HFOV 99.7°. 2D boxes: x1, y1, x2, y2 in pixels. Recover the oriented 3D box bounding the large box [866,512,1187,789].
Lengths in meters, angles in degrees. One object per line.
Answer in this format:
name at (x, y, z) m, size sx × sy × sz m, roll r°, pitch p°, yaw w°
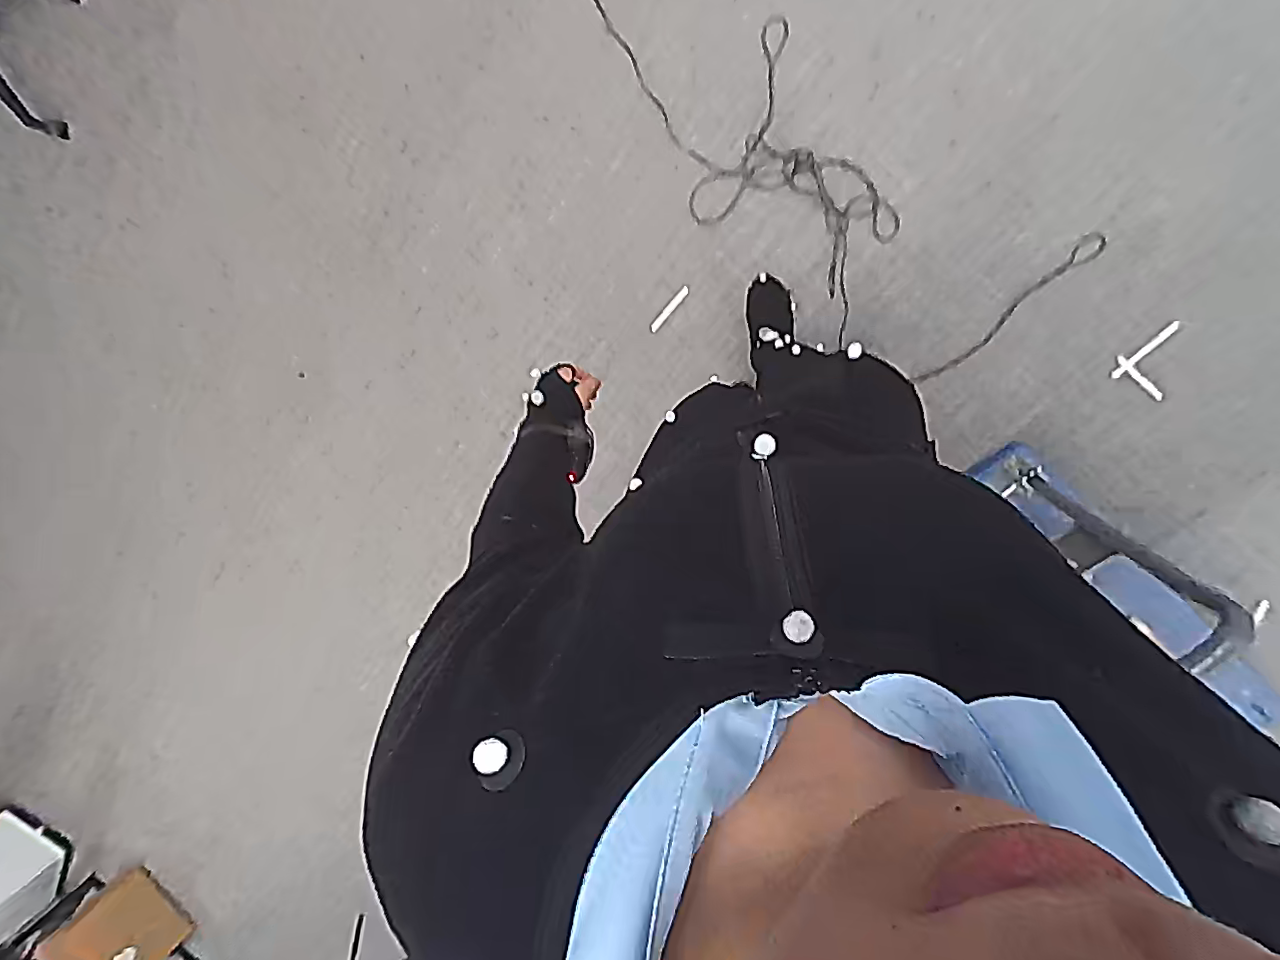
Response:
large box at (0.764, 0.345, 1.153) m, size 0.320 × 0.320 × 0.408 m, roll 40°, pitch 113°, yaw 0°
